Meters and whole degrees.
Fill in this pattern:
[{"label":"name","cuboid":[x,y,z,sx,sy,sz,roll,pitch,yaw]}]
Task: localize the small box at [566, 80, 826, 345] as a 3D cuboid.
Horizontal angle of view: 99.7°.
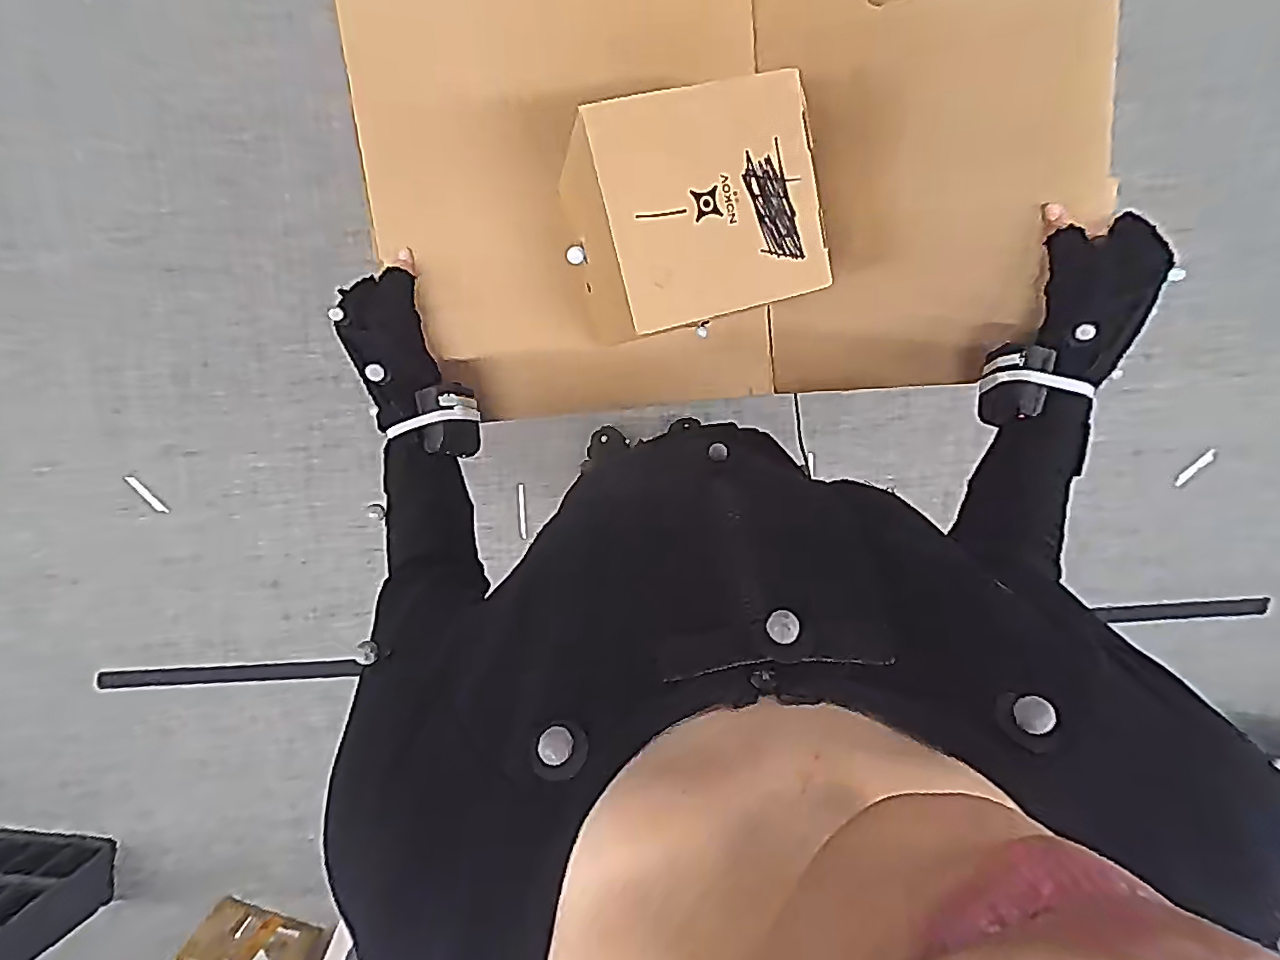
[{"label":"small box","cuboid":[0.041,-0.229,0.503,0.179,0.176,0.168,-17,103,-10]}]
